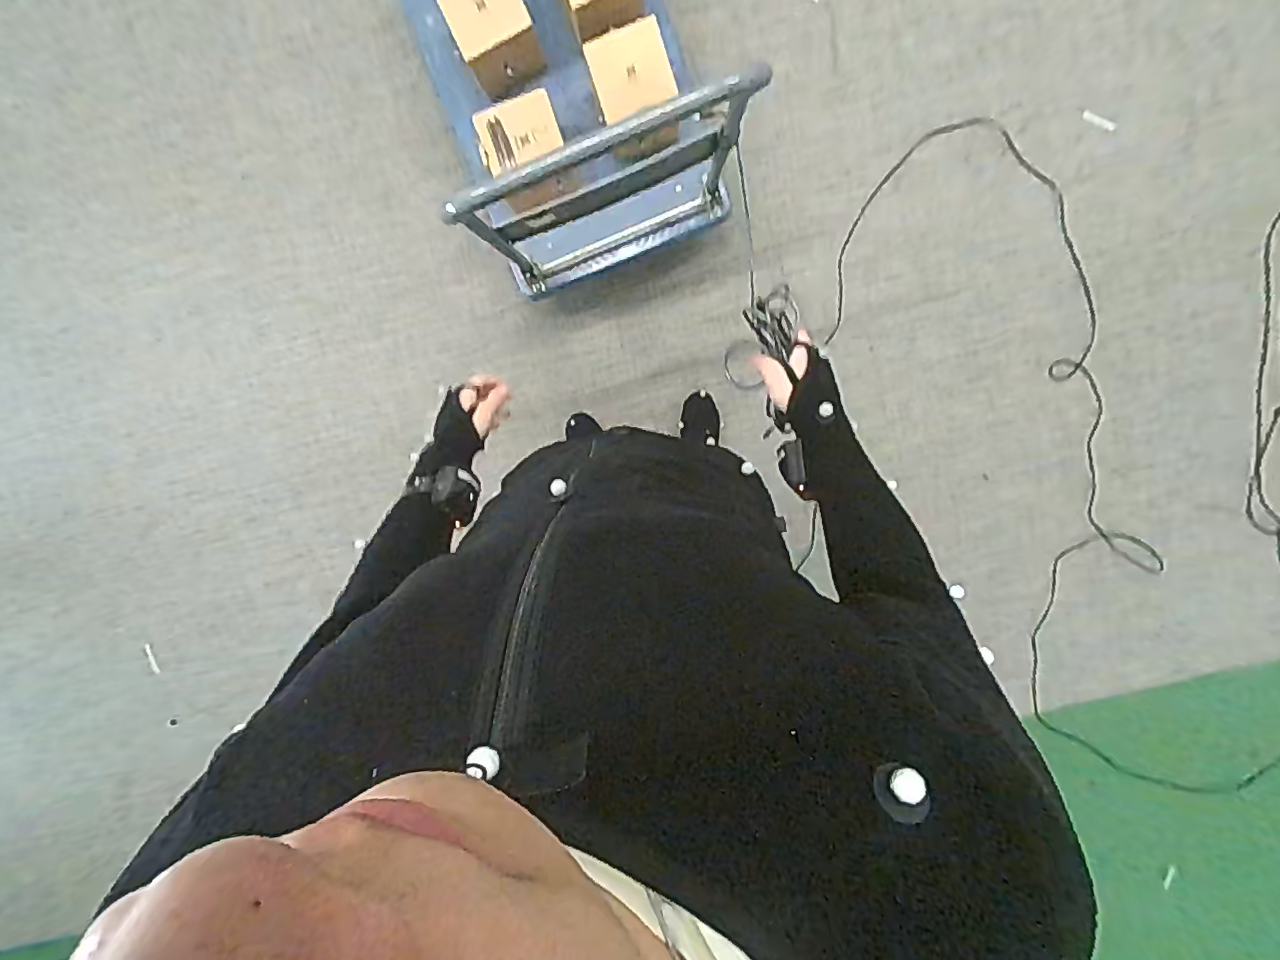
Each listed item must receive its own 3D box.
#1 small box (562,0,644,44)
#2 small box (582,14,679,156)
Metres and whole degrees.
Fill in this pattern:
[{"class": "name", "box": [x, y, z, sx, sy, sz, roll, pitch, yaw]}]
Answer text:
[{"class": "small box", "box": [-0.099, -1.109, 1.180, 0.168, 0.176, 0.179, -22, 100, 7]}, {"class": "small box", "box": [-0.018, -0.876, 1.219, 0.168, 0.176, 0.179, -19, 100, 6]}]
